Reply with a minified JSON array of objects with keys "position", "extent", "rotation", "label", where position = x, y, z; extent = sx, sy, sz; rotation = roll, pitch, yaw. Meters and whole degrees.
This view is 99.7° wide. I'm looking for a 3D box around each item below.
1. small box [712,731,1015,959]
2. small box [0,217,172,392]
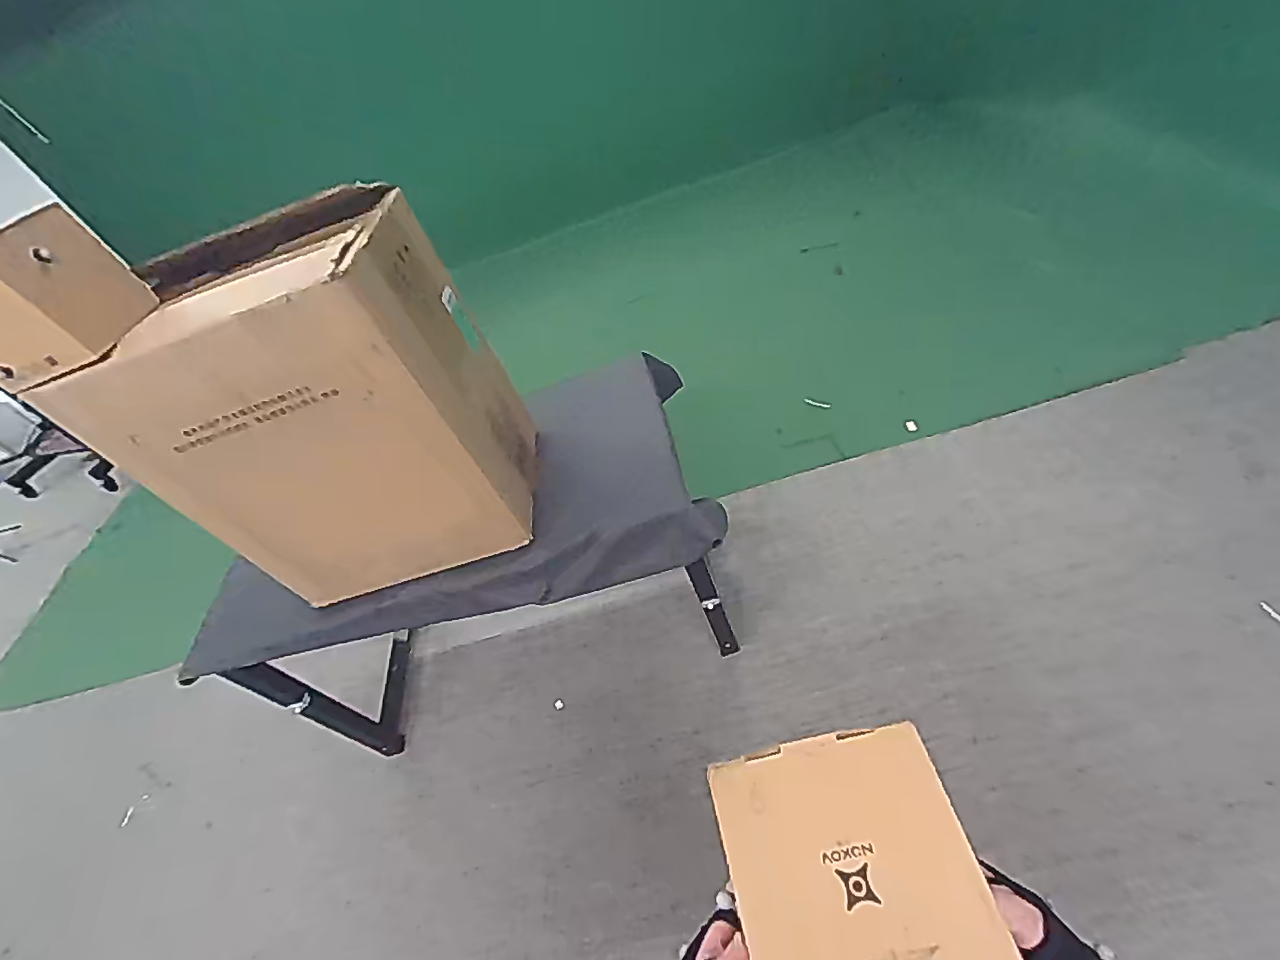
[{"position":[0.157,0.323,0.427],"extent":[0.168,0.176,0.179],"rotation":[-13,53,2],"label":"small box"},{"position":[-0.862,-0.250,0.801],"extent":[0.168,0.176,0.179],"rotation":[-17,43,9],"label":"small box"}]
